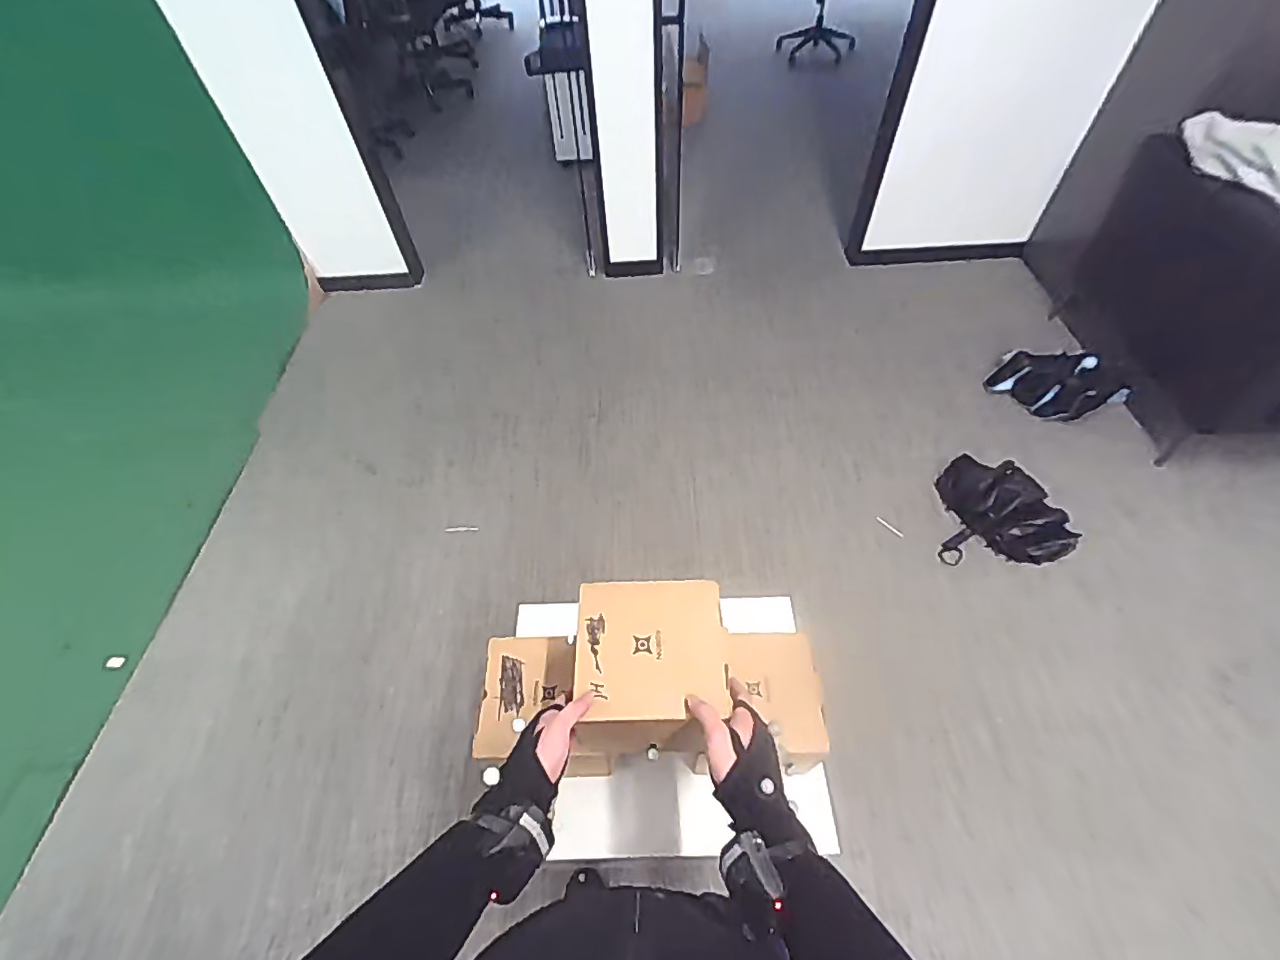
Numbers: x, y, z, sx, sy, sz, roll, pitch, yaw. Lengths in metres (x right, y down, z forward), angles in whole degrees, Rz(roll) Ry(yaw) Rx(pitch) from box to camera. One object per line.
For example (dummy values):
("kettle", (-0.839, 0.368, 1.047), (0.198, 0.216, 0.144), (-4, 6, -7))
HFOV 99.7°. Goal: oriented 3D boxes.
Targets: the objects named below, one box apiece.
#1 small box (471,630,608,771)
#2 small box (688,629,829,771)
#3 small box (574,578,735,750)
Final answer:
("small box", (-0.137, 0.336, 0.816), (0.179, 0.176, 0.168), (0, 54, -2))
("small box", (0.164, 0.334, 0.817), (0.179, 0.176, 0.168), (-1, 54, 2))
("small box", (0.014, 0.237, 0.687), (0.179, 0.176, 0.168), (1, 53, -1))
